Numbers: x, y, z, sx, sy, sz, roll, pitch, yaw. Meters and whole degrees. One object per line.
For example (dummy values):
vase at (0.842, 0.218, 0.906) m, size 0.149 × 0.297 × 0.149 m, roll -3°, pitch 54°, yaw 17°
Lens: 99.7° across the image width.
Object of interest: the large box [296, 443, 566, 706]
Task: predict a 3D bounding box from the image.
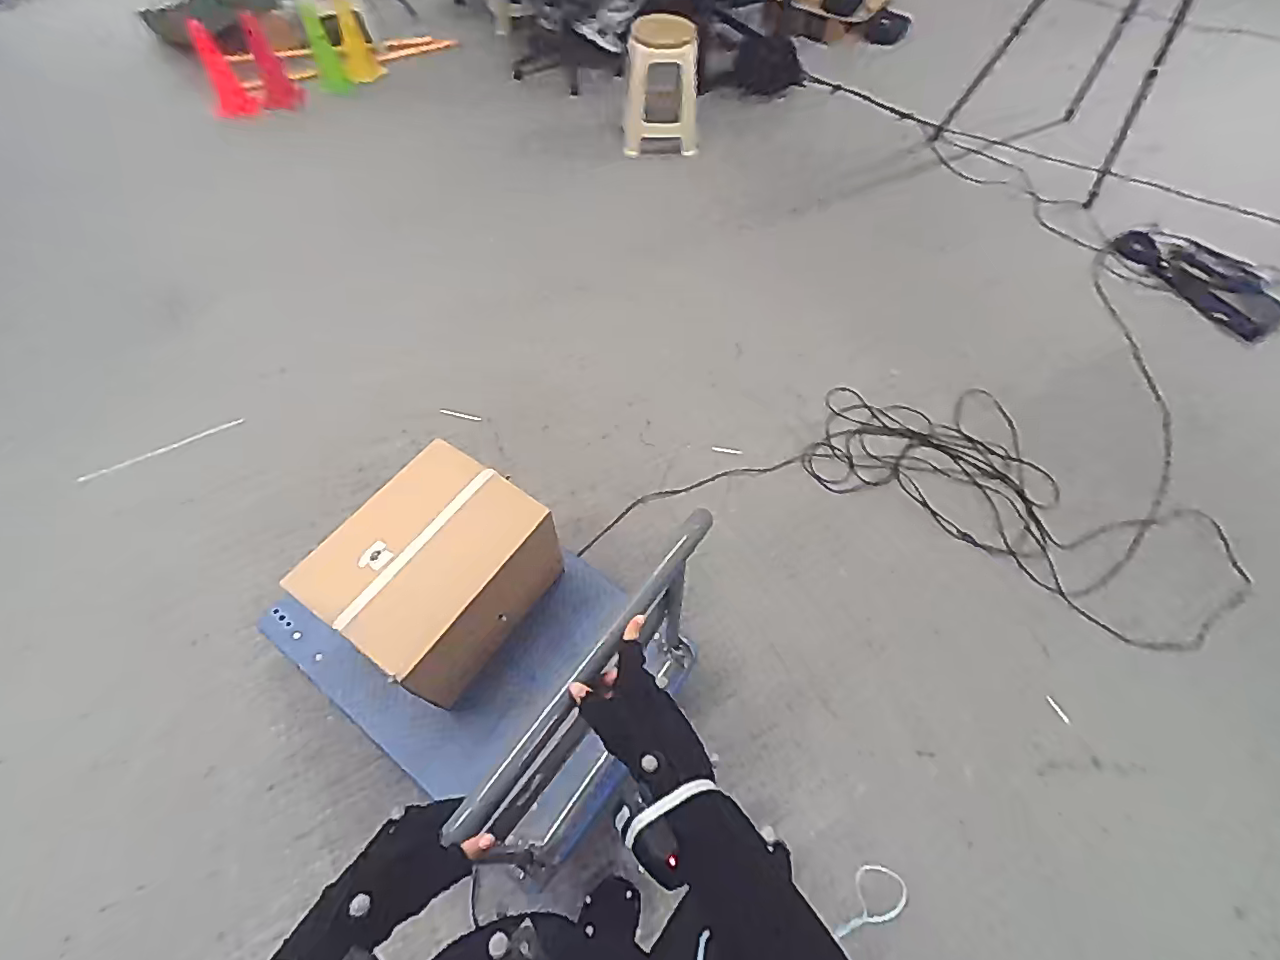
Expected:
large box at (-0.406, 0.206, 1.168) m, size 0.320 × 0.320 × 0.408 m, roll 30°, pitch 63°, yaw 15°
